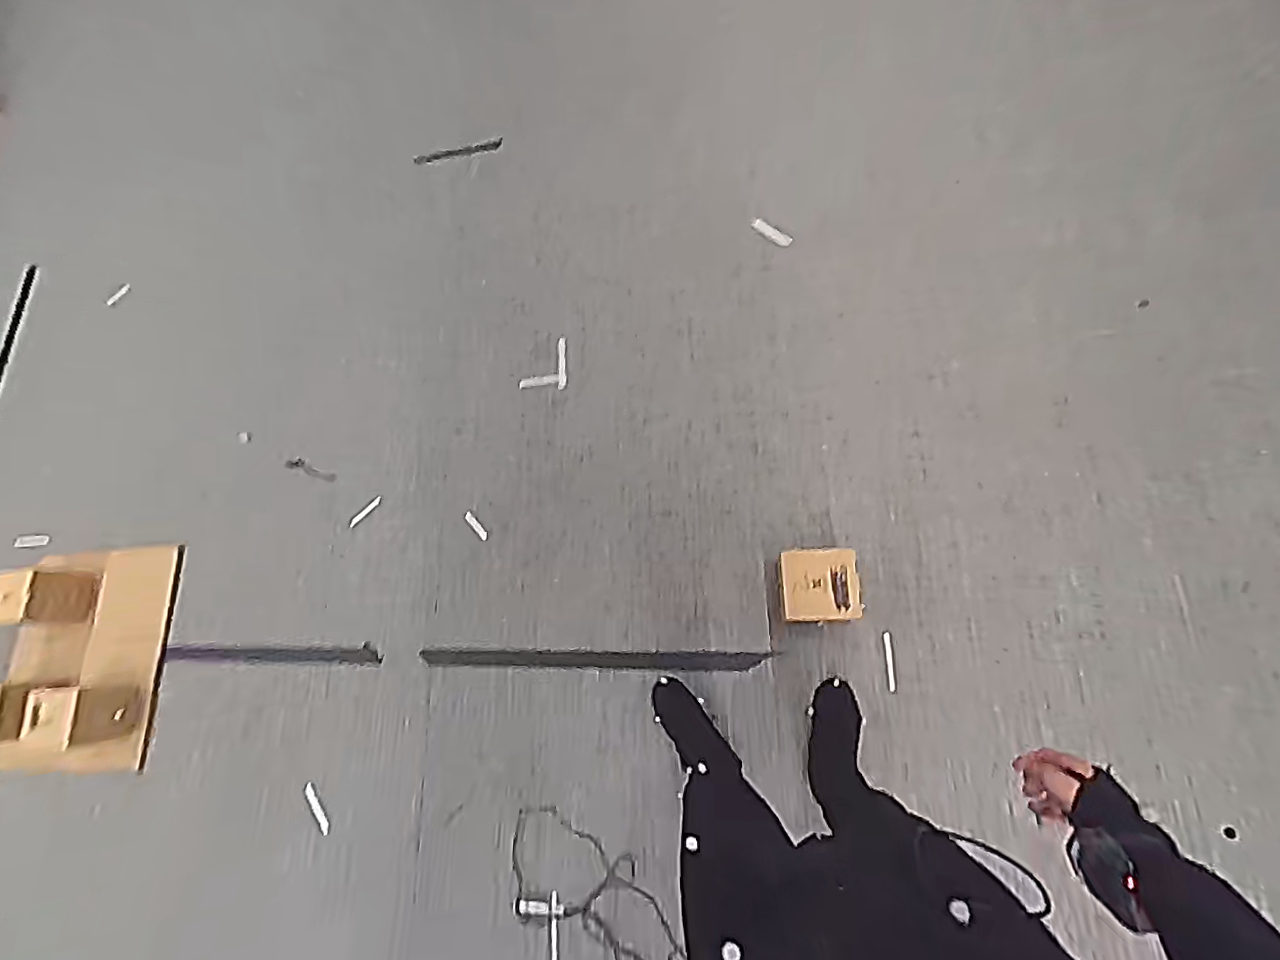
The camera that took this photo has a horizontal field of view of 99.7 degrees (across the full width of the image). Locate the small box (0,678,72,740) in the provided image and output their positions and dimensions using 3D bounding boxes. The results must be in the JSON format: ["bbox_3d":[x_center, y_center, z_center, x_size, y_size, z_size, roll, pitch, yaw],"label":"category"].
[{"bbox_3d":[-1.971,0.720,1.701,0.179,0.176,0.168,-5,75,10],"label":"small box"}]

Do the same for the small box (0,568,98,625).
[{"bbox_3d":[-1.978,0.390,1.796,0.179,0.176,0.168,-8,74,9],"label":"small box"}]

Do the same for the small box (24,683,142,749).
[{"bbox_3d":[-1.690,0.715,1.648,0.179,0.176,0.168,-6,75,9],"label":"small box"}]
